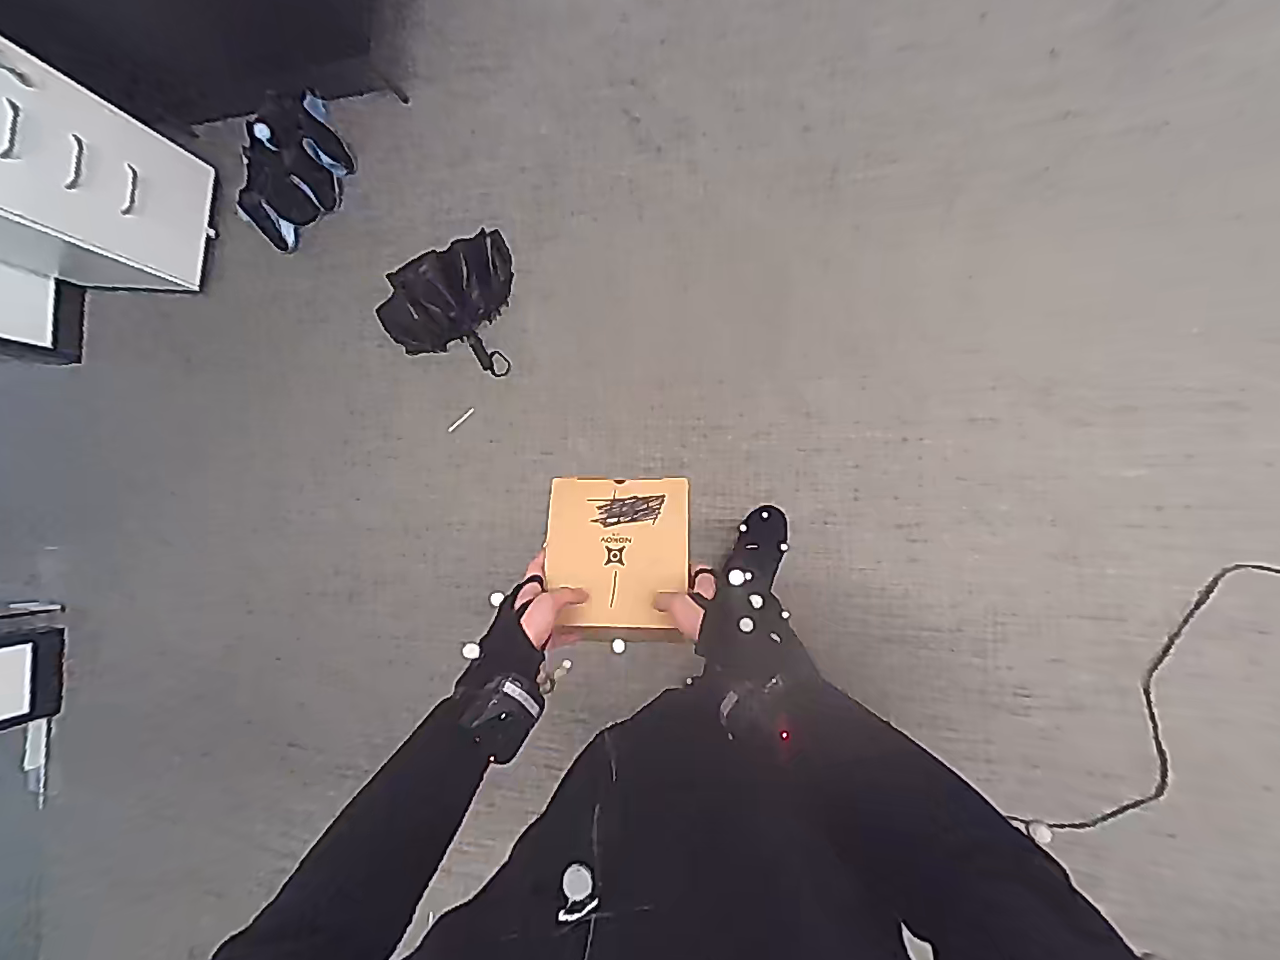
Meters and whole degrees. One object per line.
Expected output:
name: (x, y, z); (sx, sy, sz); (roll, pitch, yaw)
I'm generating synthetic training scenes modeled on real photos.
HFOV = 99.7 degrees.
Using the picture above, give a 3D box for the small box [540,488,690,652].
small box: (-0.021, 0.121, 0.700); (0.168, 0.176, 0.179); (-1, 68, 7)
